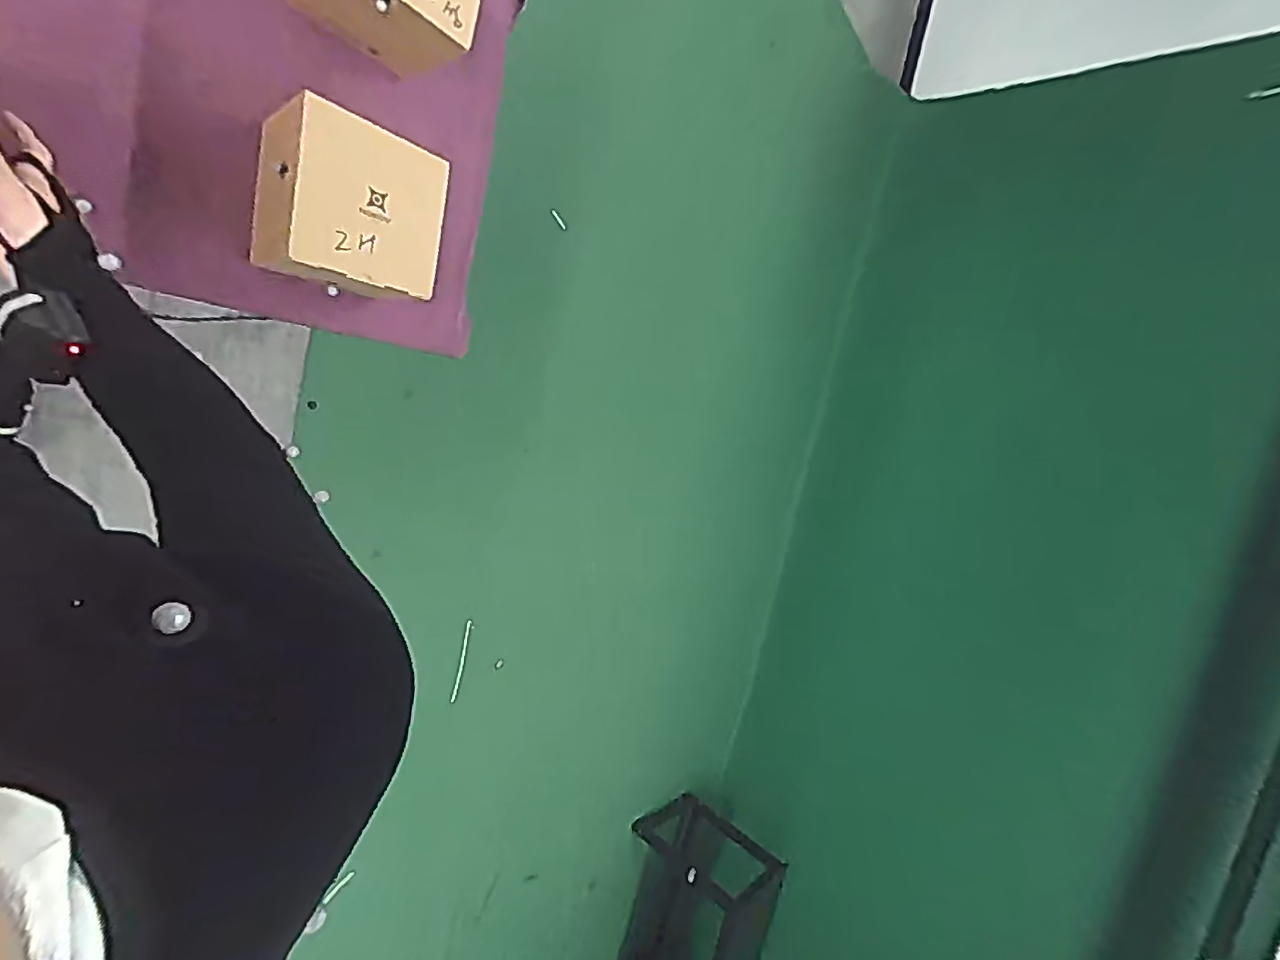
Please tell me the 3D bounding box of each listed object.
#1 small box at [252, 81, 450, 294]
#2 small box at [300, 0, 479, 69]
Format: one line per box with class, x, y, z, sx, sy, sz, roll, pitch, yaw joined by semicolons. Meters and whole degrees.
small box;-0.366;-0.347;0.681;0.168;0.176;0.179;4;102;-47
small box;-0.300;-0.647;0.646;0.168;0.176;0.179;6;99;-48
